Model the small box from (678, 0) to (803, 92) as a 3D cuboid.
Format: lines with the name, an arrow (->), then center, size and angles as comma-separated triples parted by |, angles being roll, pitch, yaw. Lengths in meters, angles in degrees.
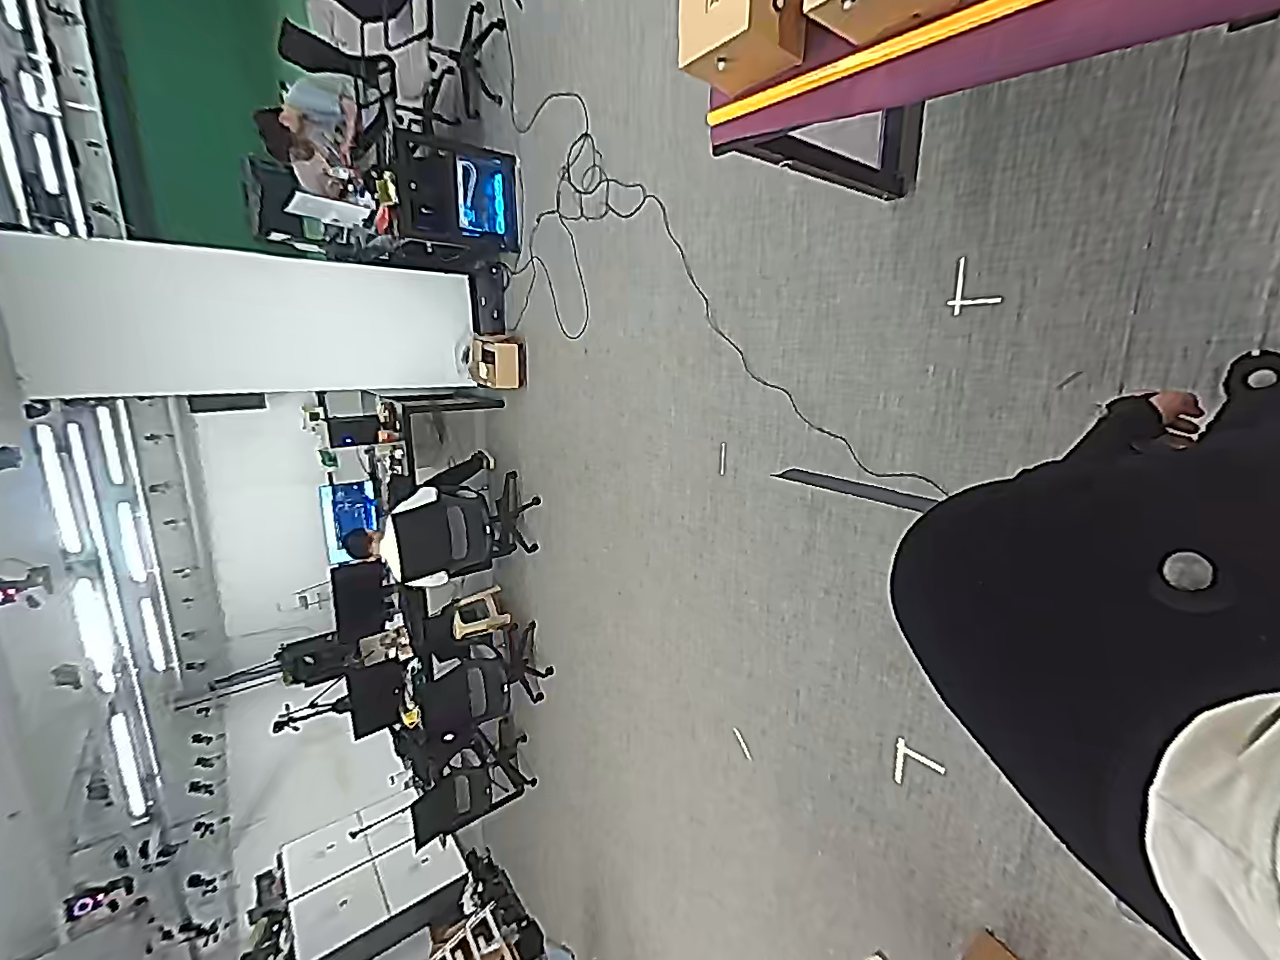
small box -> 0.190, -0.861, 1.003 | 0.179, 0.176, 0.168 | 15, 110, 50

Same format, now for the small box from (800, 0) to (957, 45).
small box -> 0.361, -0.792, 0.790 | 0.168, 0.176, 0.179 | 19, 112, 52
